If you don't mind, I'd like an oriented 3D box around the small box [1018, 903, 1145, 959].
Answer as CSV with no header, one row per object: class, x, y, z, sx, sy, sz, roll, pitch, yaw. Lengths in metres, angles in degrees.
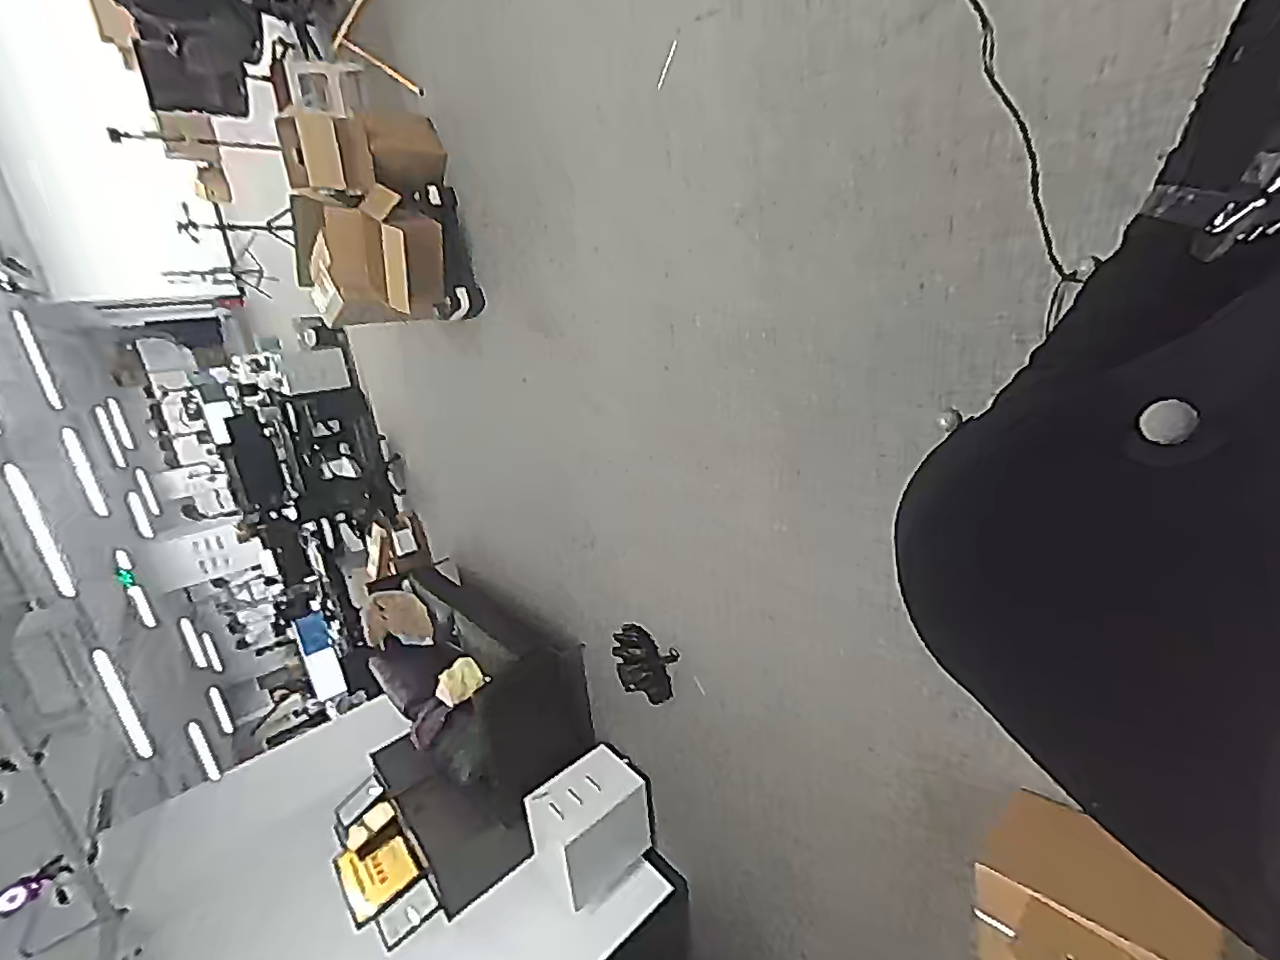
small box,0.911,1.040,1.125,0.179,0.176,0.168,11,114,48
